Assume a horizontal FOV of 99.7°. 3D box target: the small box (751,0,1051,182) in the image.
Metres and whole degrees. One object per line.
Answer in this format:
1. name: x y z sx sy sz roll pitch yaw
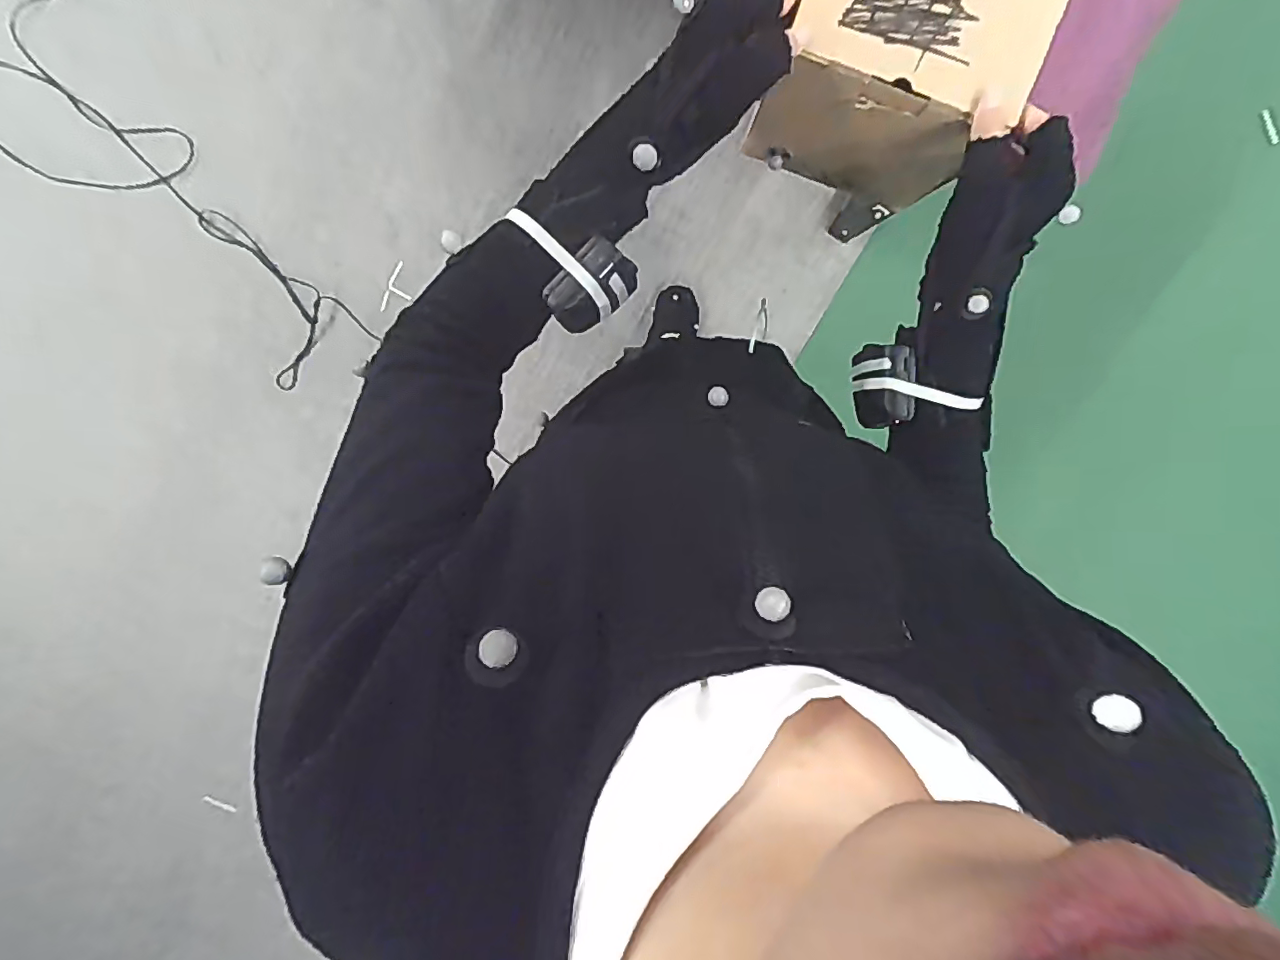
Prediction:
1. small box: 0.198 -0.369 0.422 0.168 0.176 0.179 18 100 -3
